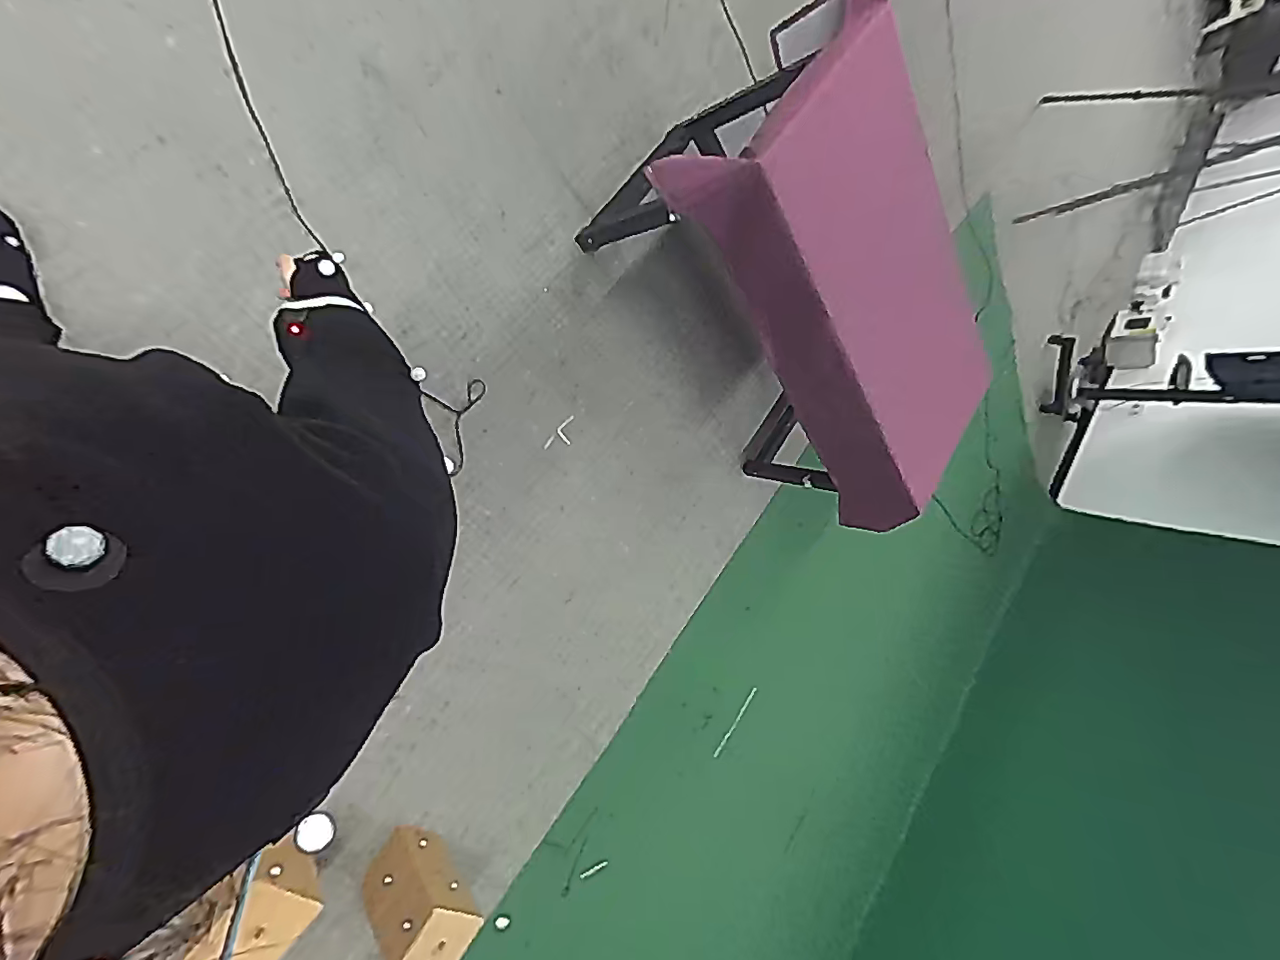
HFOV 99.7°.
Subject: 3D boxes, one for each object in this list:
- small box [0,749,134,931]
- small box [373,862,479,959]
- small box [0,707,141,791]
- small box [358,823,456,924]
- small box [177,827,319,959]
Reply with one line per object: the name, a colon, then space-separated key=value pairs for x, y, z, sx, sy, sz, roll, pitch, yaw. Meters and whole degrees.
small box: x=-1.024 y=0.605 z=0.927 sx=0.179 sy=0.176 sz=0.168 roll=-48 pitch=124 yaw=-20
small box: x=-0.561 y=1.143 z=1.406 sx=0.179 sy=0.176 sz=0.168 roll=-54 pitch=125 yaw=-17
small box: x=-1.129 y=0.581 z=1.053 sx=0.179 sy=0.176 sz=0.168 roll=-50 pitch=124 yaw=-20
small box: x=-0.664 y=1.118 z=1.531 sx=0.179 sy=0.176 sz=0.168 roll=-52 pitch=125 yaw=-17
small box: x=-0.824 y=0.883 z=1.144 sx=0.168 sy=0.176 sz=0.179 roll=-48 pitch=124 yaw=-20
